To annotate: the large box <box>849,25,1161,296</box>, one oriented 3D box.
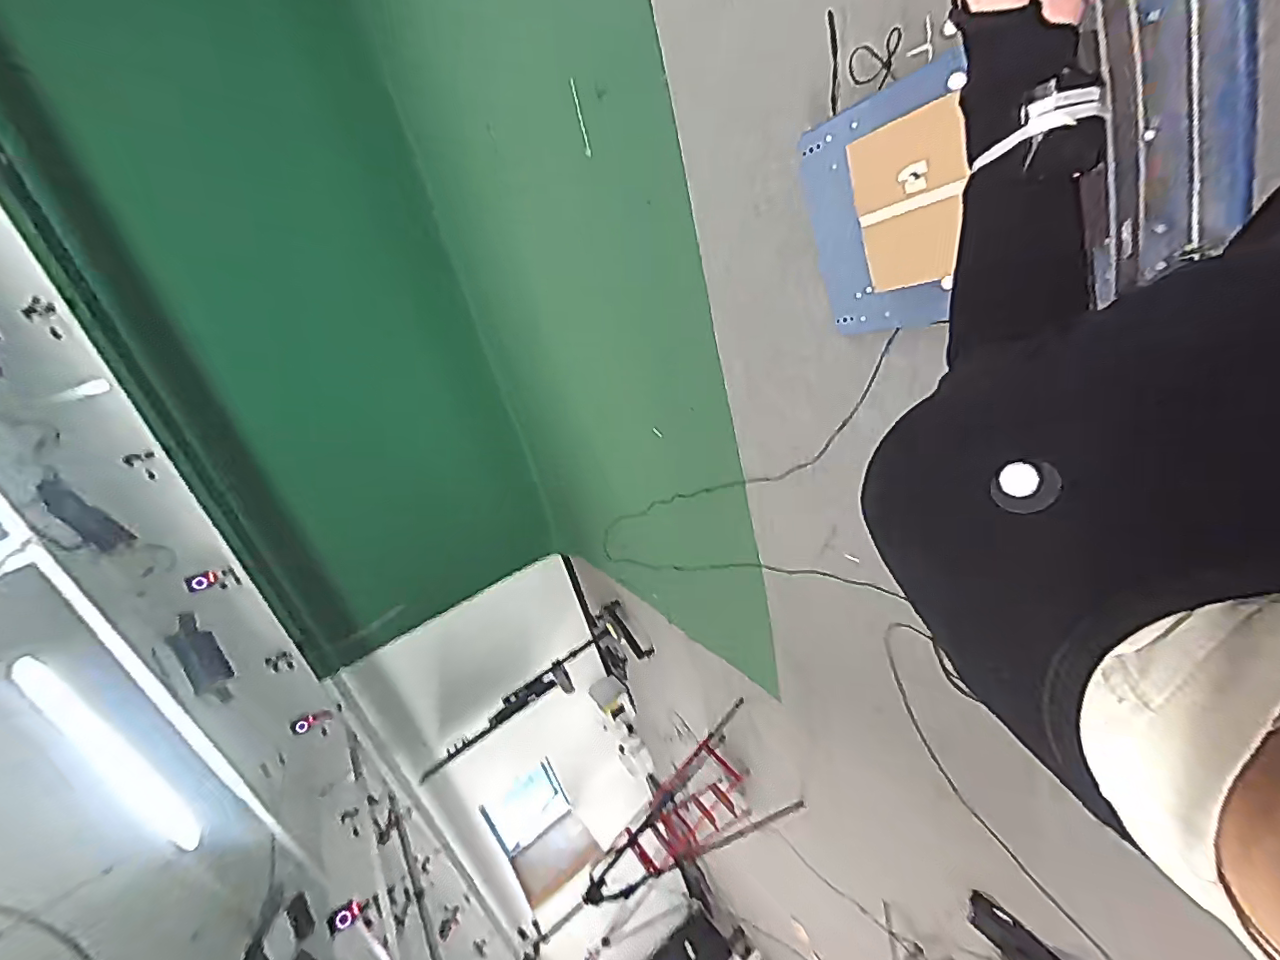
[{"bbox_3d":[0.703,-0.596,1.065,0.408,0.320,0.320,11,124,58],"label":"large box"}]
